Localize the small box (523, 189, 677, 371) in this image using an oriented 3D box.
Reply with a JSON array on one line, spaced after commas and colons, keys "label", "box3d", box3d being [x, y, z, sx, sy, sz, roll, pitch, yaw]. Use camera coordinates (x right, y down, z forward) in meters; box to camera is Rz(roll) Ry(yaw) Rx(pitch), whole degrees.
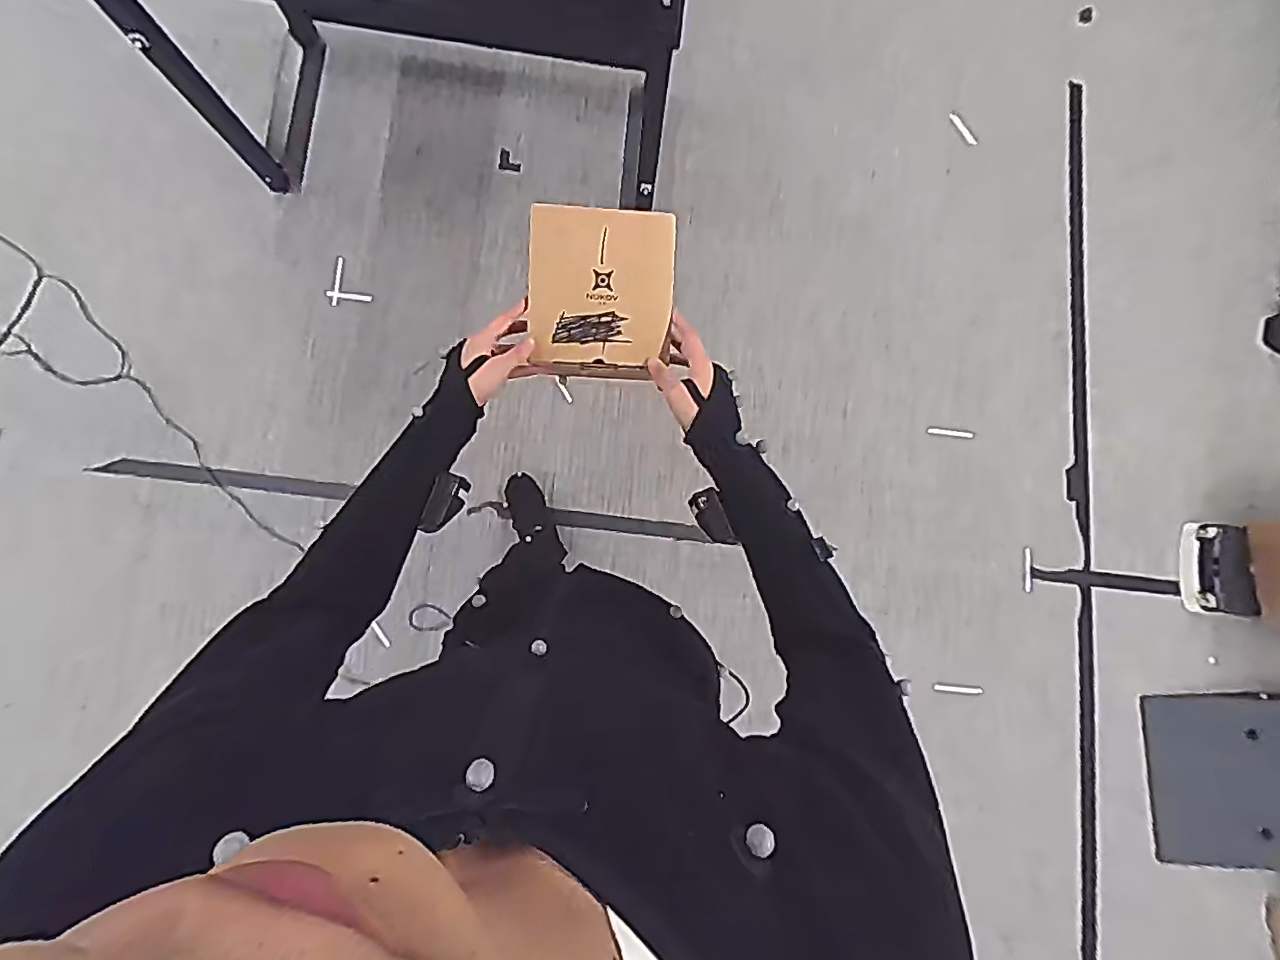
[{"label": "small box", "box3d": [-0.049, -0.232, 0.674, 0.168, 0.176, 0.179, 2, 96, -4]}]
